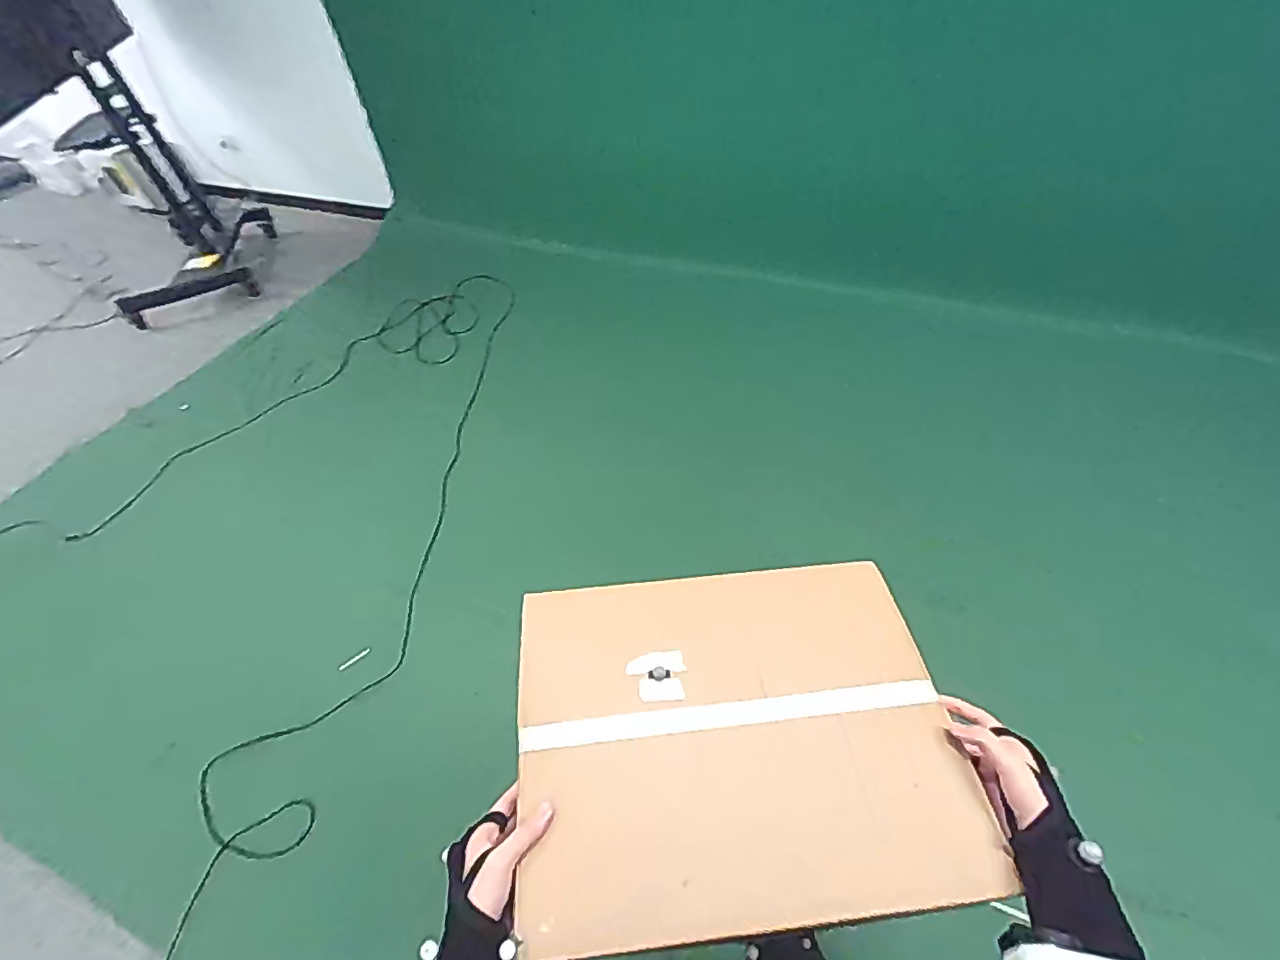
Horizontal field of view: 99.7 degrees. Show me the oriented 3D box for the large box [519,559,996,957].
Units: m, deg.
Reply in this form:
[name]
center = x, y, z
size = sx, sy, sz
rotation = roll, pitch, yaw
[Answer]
[large box]
center = 0.088, 0.326, 0.643
size = 0.408, 0.320, 0.320
rotation = -6, 49, -4
